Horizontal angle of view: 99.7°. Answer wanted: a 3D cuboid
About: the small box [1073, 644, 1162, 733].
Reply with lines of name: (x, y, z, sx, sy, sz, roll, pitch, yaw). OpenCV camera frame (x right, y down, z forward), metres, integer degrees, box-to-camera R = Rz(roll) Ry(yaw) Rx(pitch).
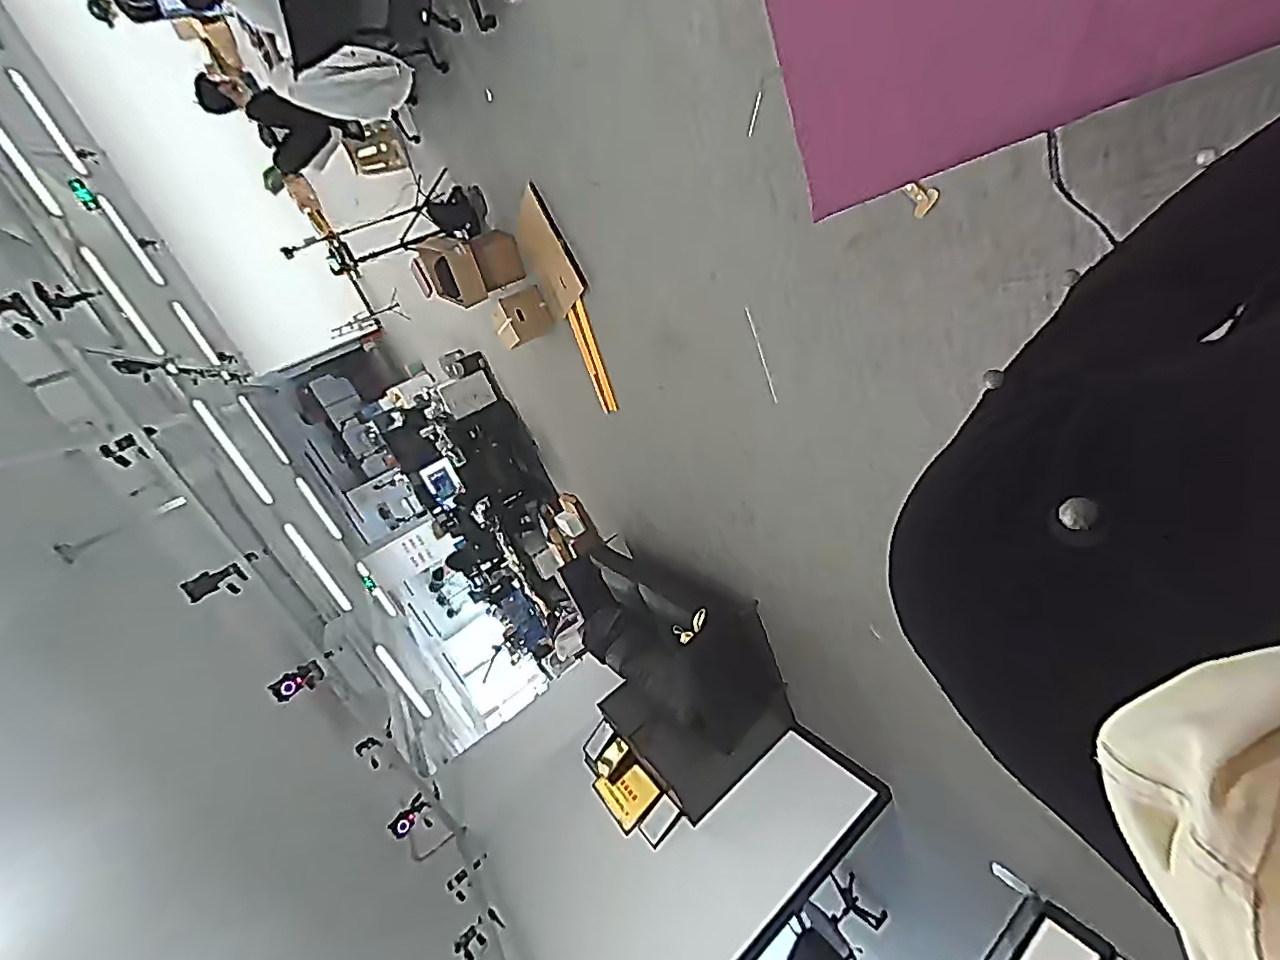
small box: (1.540, 0.662, 1.744, 0.179, 0.176, 0.168, 22, 139, 57)

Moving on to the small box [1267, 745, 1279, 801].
small box: (1.765, 0.752, 1.383, 0.168, 0.176, 0.179, 20, 137, 57)
